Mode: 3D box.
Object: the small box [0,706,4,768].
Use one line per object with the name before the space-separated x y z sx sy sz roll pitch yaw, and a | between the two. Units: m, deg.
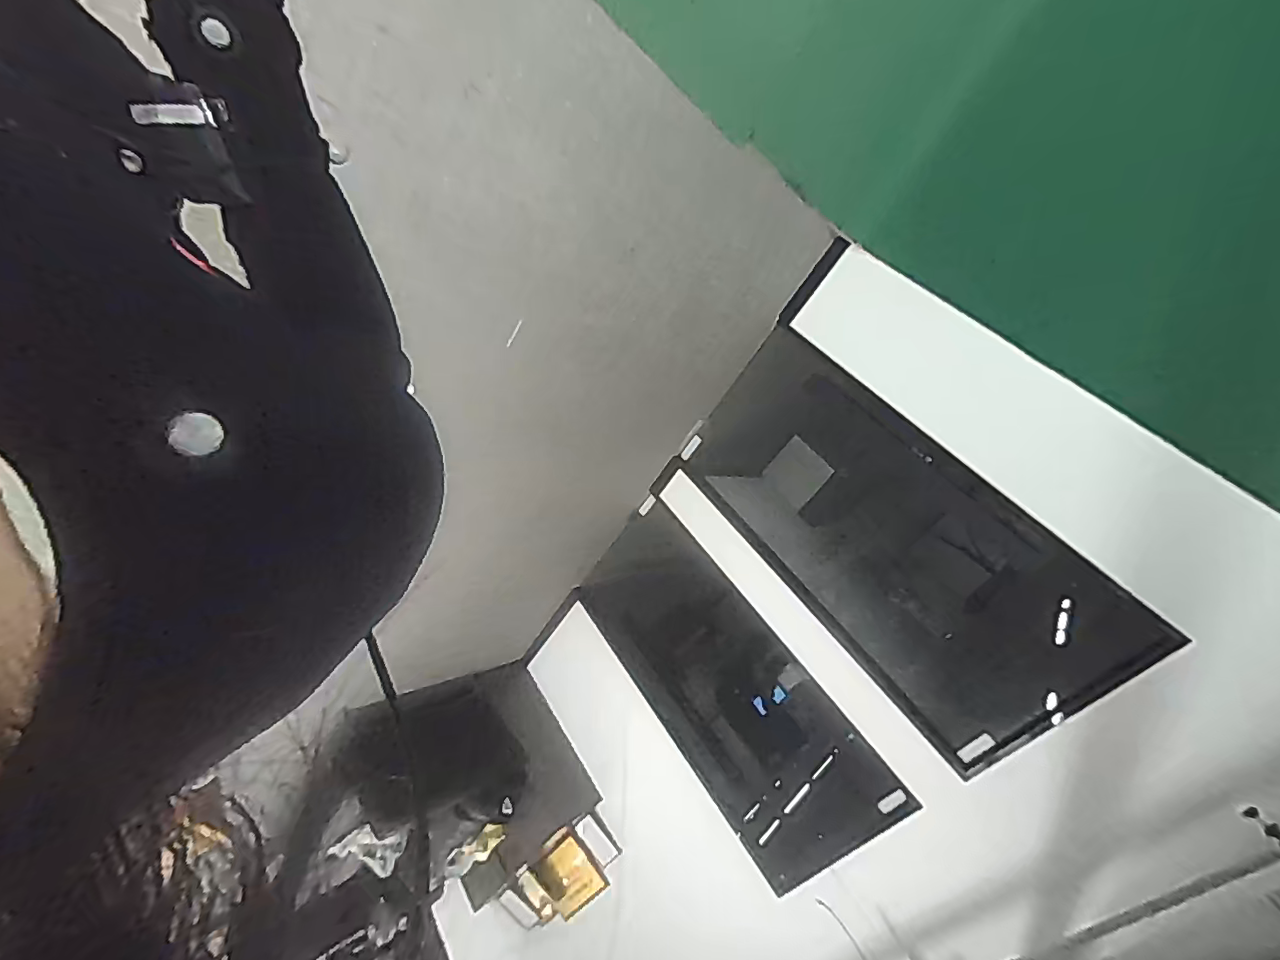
small box | -1.818 0.683 1.423 0.179 0.176 0.168 -7 140 -50
